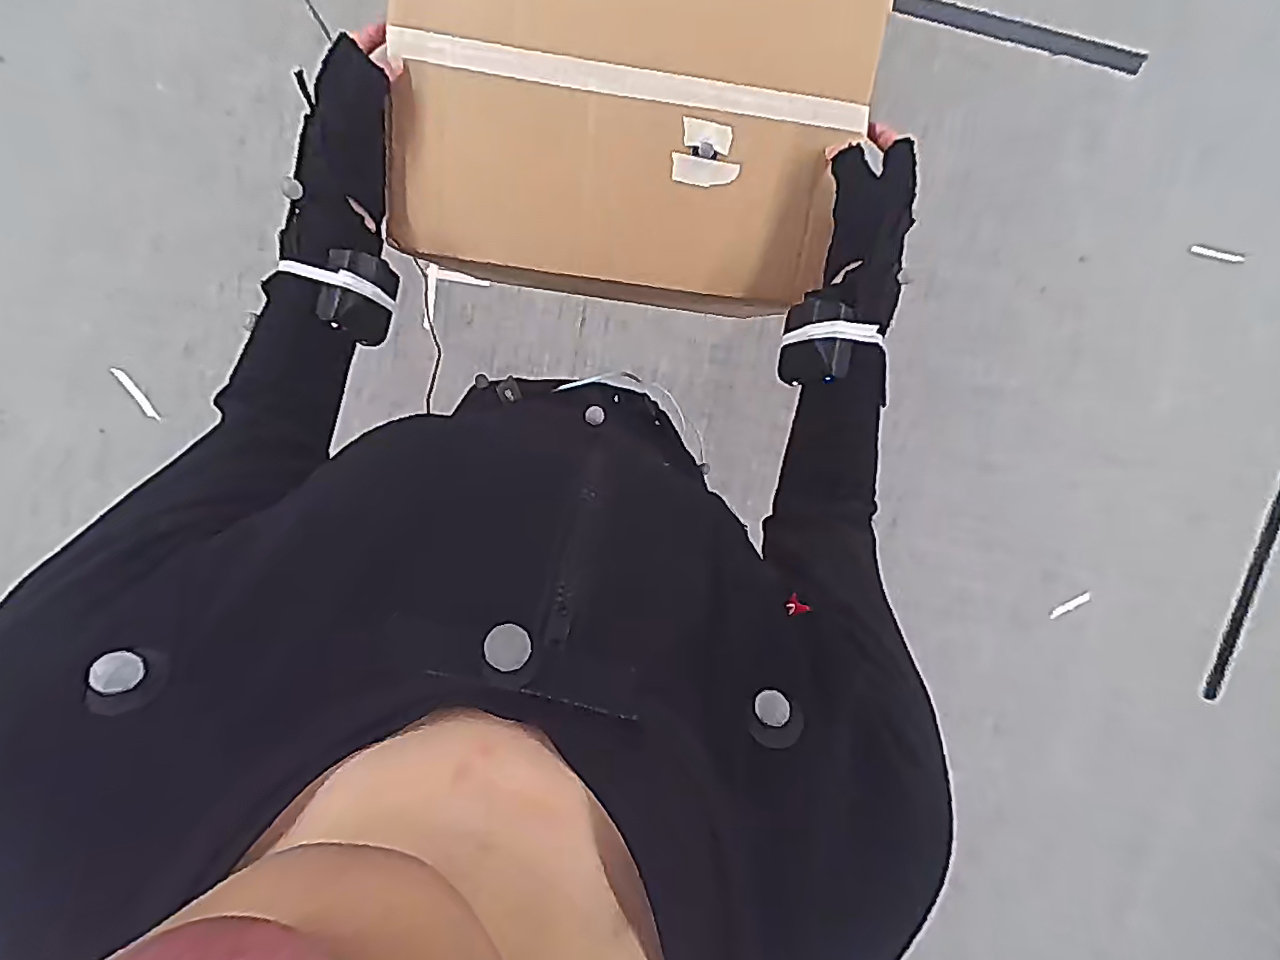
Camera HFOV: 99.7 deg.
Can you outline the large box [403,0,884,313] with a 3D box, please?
[{"bbox_3d":[-0.010,-0.376,0.610,0.408,0.320,0.320,7,106,-5],"label":"large box"}]
